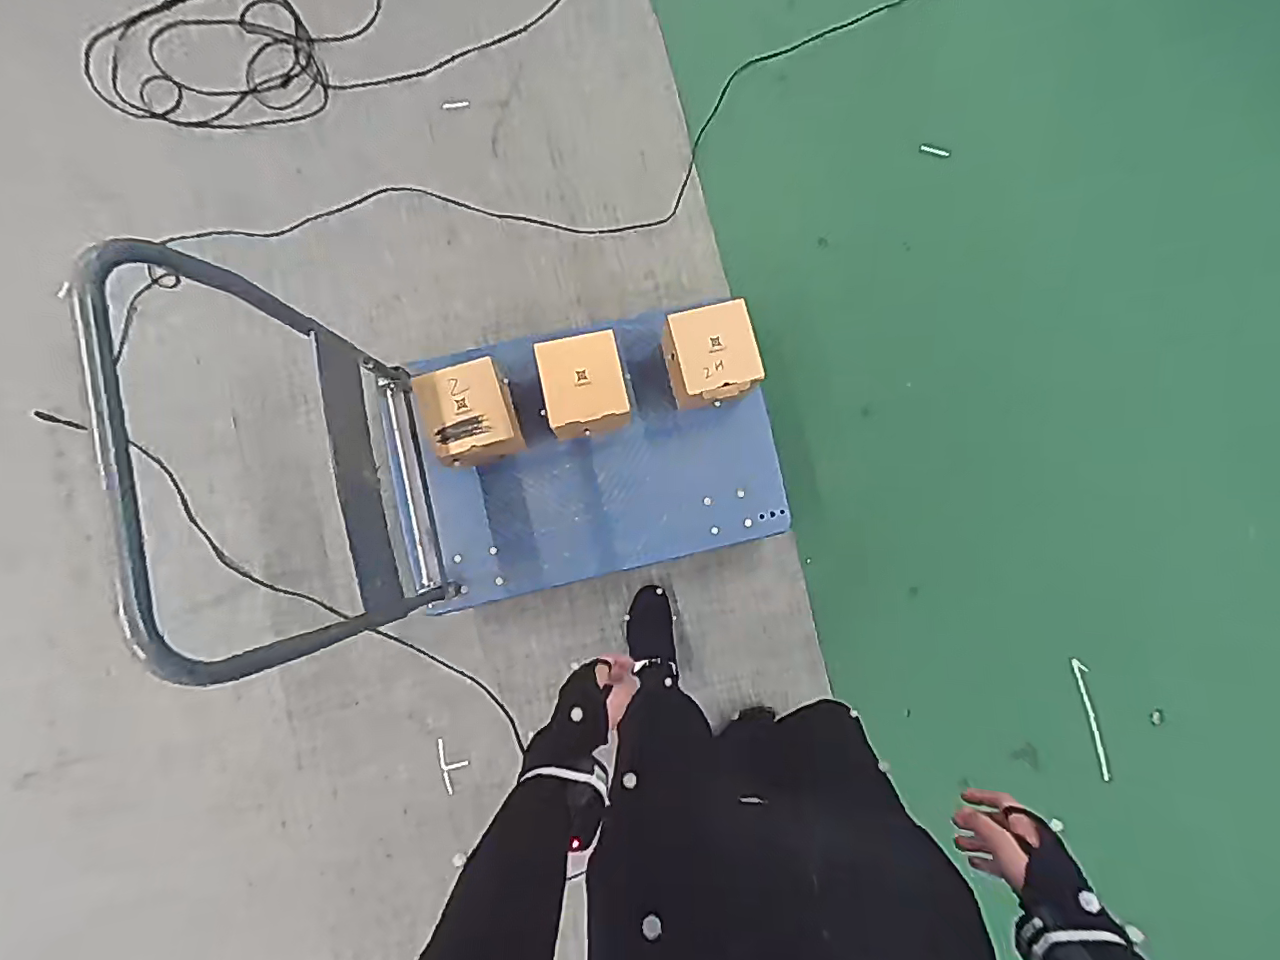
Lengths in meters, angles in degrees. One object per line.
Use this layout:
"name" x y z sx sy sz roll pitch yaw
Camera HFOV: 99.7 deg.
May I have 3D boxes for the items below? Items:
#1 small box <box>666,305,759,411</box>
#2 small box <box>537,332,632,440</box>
"small box" 0.150 -0.259 1.180 0.168 0.176 0.179 -7 87 0
"small box" -0.118 -0.196 1.167 0.168 0.176 0.179 -12 87 -4
